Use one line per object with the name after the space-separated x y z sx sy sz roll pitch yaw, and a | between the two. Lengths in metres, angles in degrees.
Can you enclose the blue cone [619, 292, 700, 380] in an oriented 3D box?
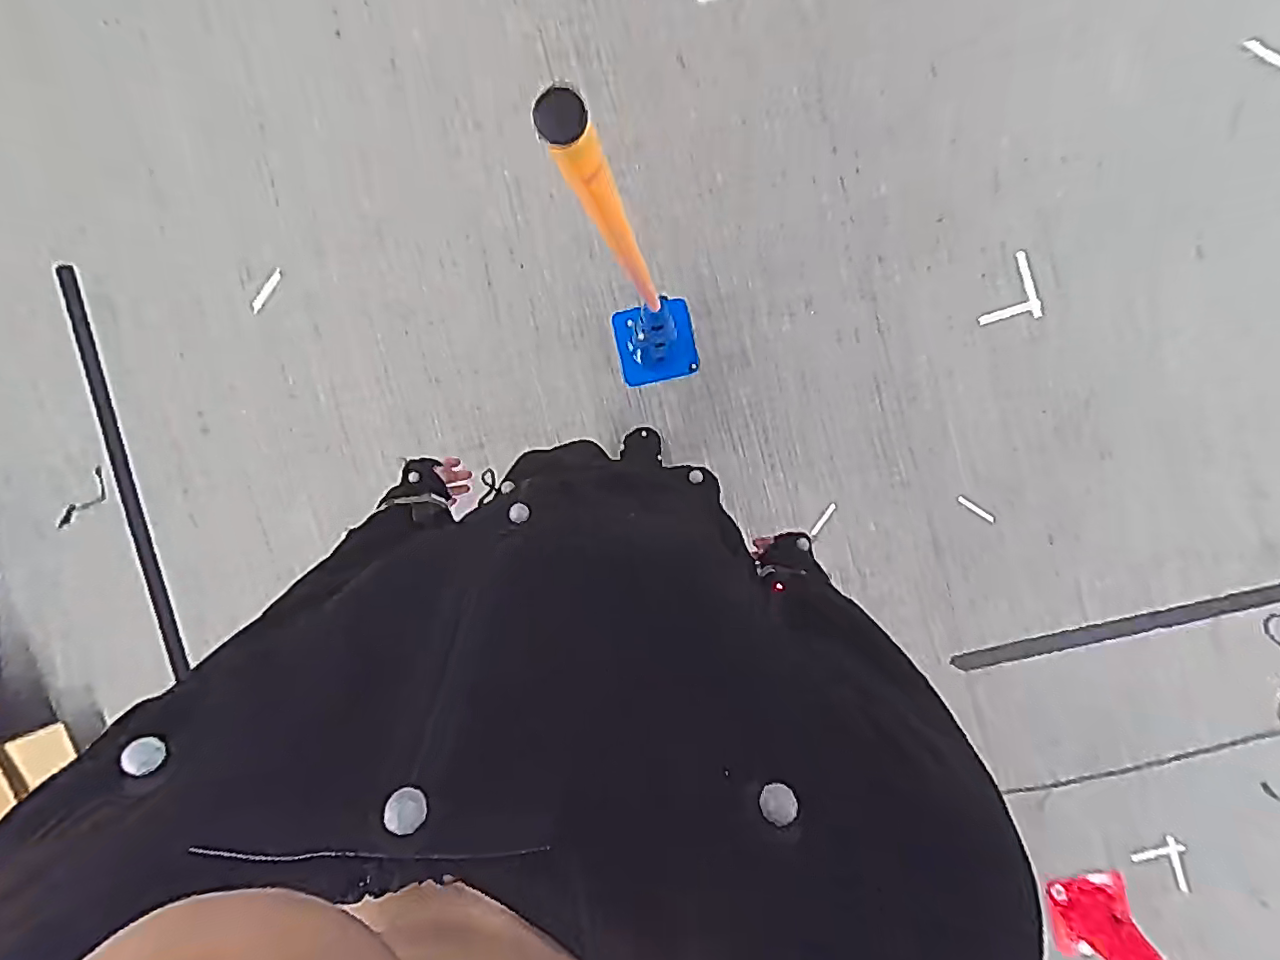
0.044 -0.354 1.233 0.192 0.380 0.193 -11 92 2 | blue cone
